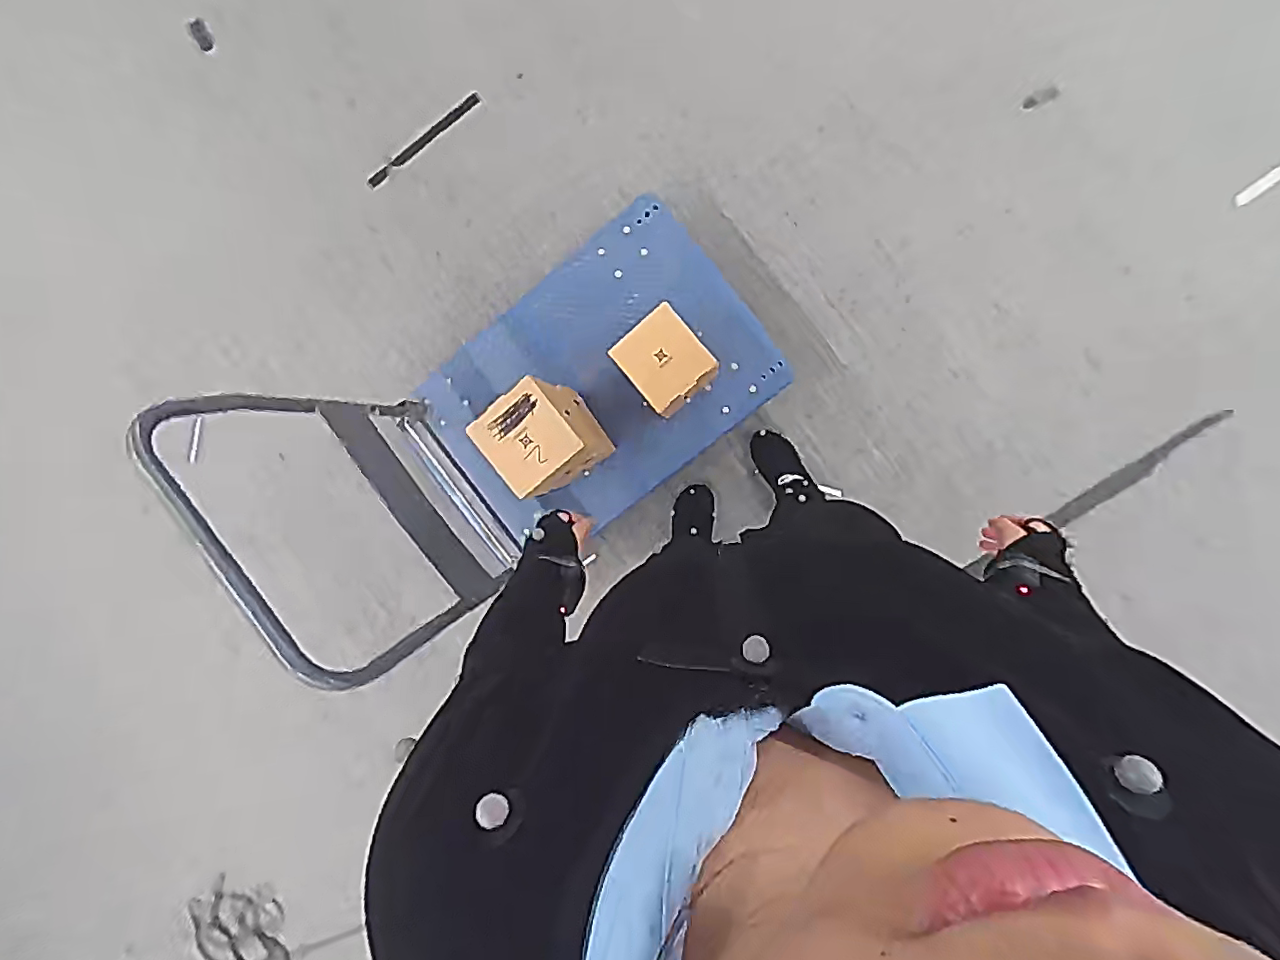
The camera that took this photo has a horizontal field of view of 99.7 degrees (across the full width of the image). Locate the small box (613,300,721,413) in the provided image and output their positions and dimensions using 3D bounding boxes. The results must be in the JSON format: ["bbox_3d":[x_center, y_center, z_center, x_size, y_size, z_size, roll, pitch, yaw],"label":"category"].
[{"bbox_3d":[0.064,-0.266,1.219,0.168,0.176,0.179,-41,88,7],"label":"small box"}]

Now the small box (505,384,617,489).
[{"bbox_3d":[-0.175,-0.096,1.253,0.168,0.176,0.179,-35,89,8],"label":"small box"}]
